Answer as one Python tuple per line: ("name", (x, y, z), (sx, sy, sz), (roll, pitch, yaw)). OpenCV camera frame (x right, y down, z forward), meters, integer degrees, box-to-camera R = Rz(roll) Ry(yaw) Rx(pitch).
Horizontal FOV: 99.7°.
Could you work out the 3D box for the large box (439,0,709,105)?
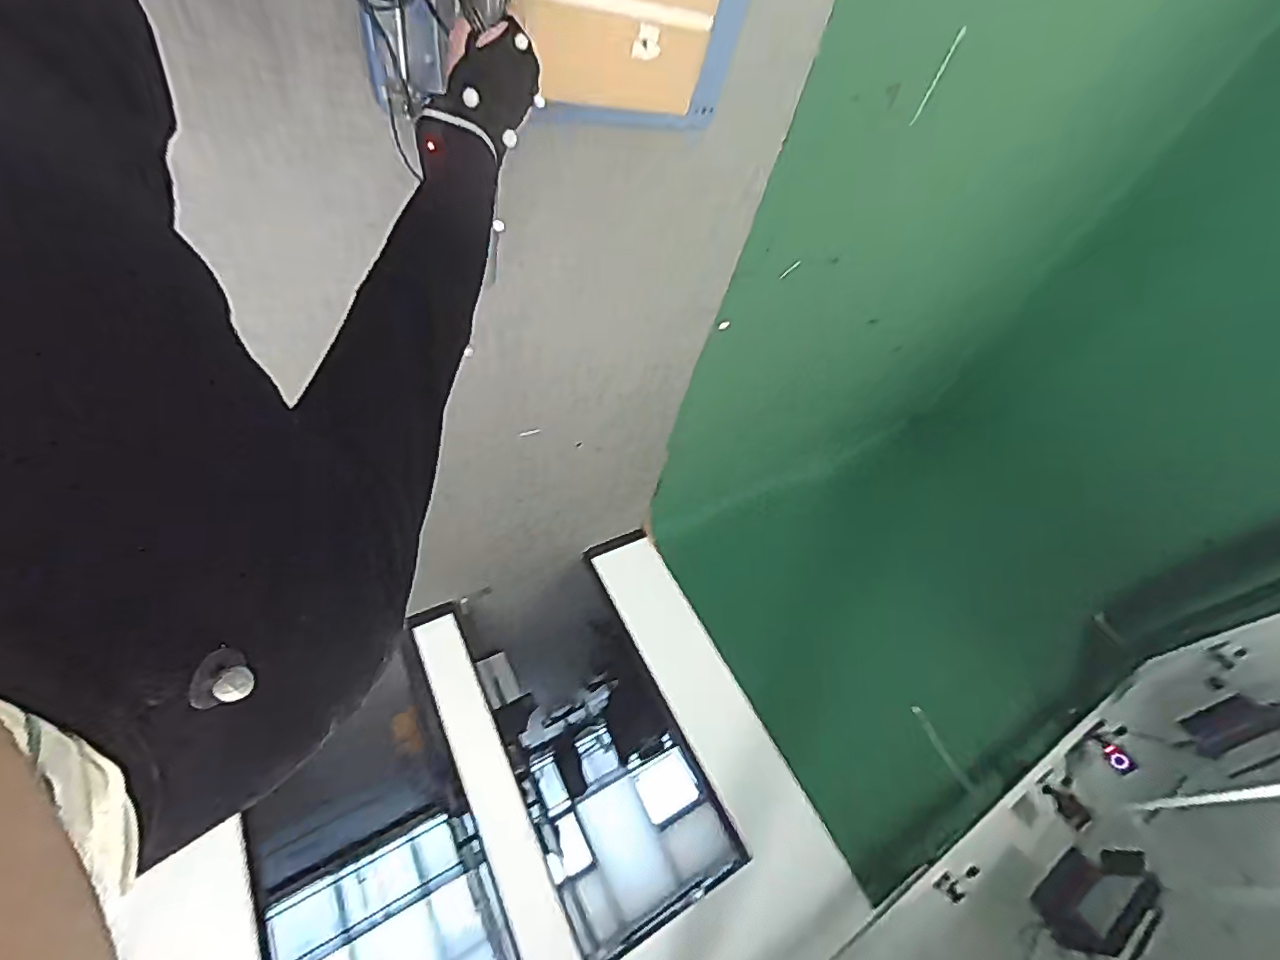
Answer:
("large box", (-0.121, -0.923, 0.969), (0.408, 0.320, 0.320), (-16, 150, -29))
